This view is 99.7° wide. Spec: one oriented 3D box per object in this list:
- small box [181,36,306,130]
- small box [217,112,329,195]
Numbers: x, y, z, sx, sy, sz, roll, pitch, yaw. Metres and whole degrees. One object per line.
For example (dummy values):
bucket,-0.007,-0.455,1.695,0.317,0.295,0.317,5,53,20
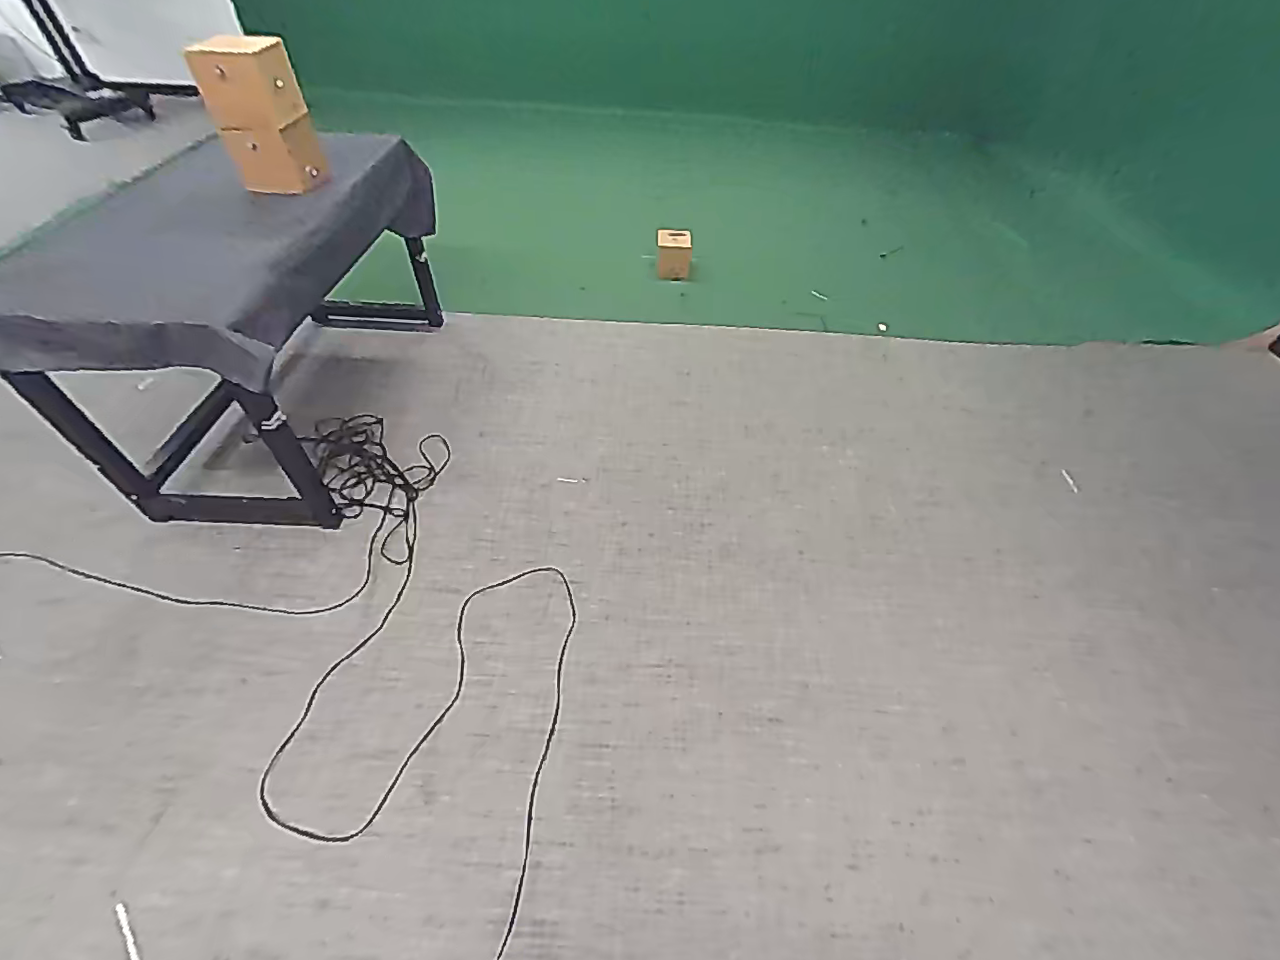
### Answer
small box,-1.024,-1.038,1.418,0.179,0.176,0.168,2,49,1
small box,-1.036,-0.934,1.543,0.179,0.176,0.168,4,49,0
